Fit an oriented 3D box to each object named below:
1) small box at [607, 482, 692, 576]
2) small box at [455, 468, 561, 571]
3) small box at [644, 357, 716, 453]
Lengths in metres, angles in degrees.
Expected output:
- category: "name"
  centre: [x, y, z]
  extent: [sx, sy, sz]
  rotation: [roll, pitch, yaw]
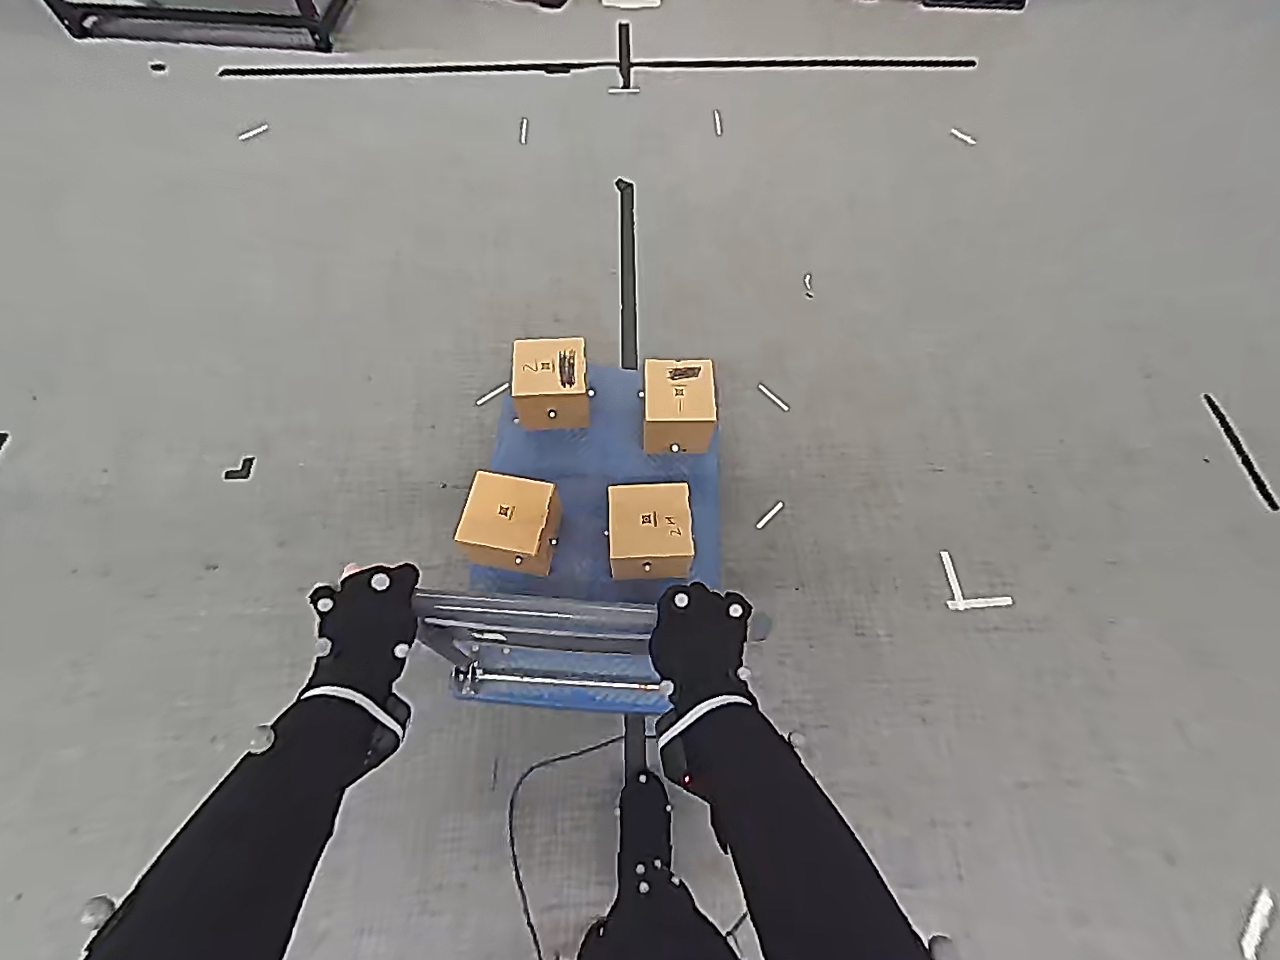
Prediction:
- category: "small box"
  centre: [0.019, 0.114, 1.203]
  extent: [0.179, 0.176, 0.168]
  rotation: [-1, 65, -2]
- category: "small box"
  centre: [-0.285, 0.094, 1.209]
  extent: [0.179, 0.176, 0.168]
  rotation: [10, 65, 2]
- category: "small box"
  centre: [0.093, -0.184, 1.345]
  extent: [0.168, 0.176, 0.179]
  rotation: [0, 66, -1]
